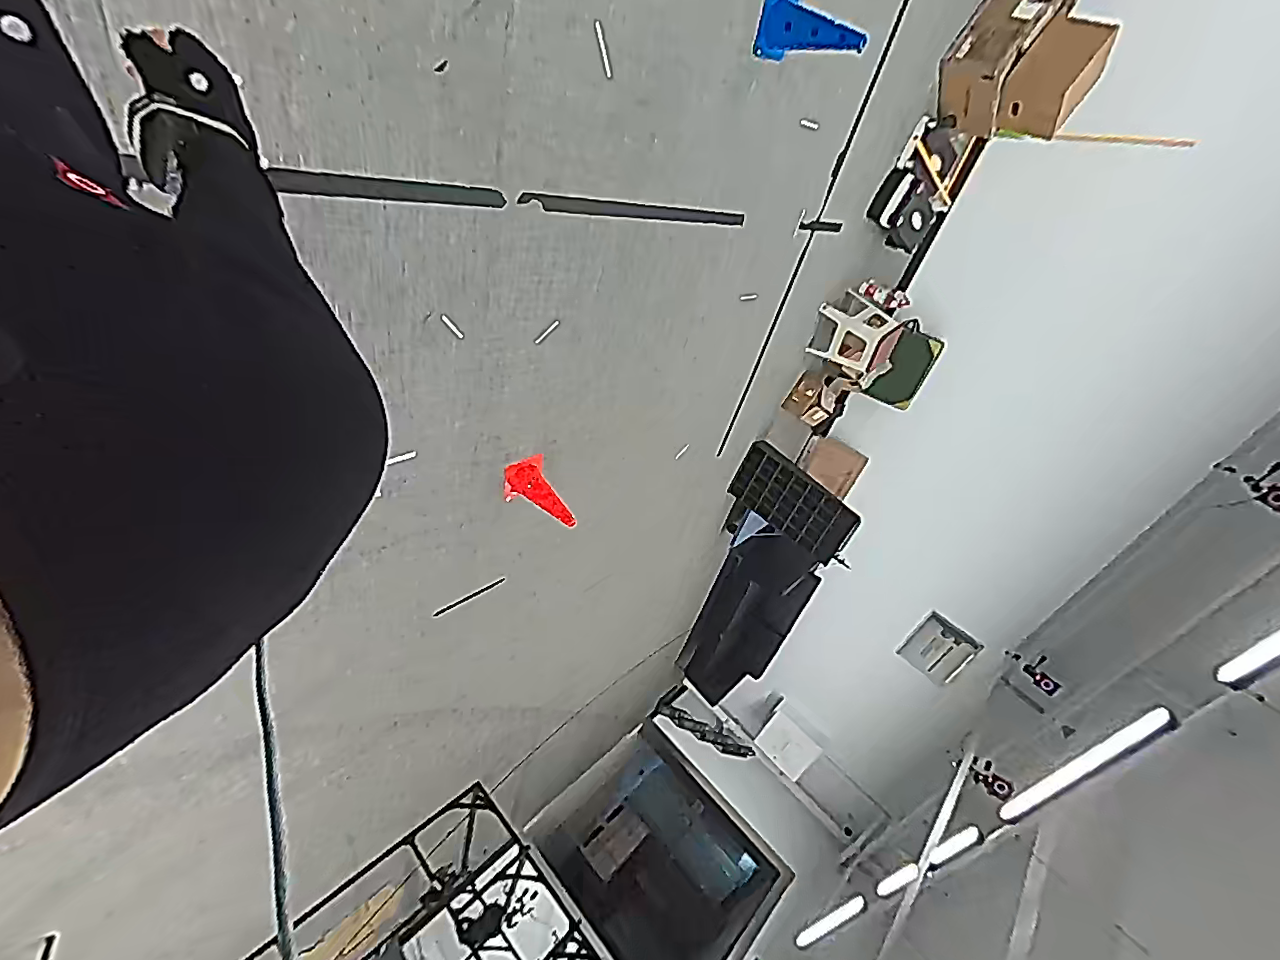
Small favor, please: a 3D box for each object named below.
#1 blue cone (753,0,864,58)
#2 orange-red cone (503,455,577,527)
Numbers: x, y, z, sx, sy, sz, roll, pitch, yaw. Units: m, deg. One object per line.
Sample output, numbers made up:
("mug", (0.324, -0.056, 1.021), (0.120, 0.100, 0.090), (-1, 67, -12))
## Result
("blue cone", (0.594, -1.532, 1.848), (0.193, 0.380, 0.192), (-28, 146, -39))
("orange-red cone", (-0.400, 0.084, 2.331), (0.199, 0.360, 0.198), (-29, 147, -40))
